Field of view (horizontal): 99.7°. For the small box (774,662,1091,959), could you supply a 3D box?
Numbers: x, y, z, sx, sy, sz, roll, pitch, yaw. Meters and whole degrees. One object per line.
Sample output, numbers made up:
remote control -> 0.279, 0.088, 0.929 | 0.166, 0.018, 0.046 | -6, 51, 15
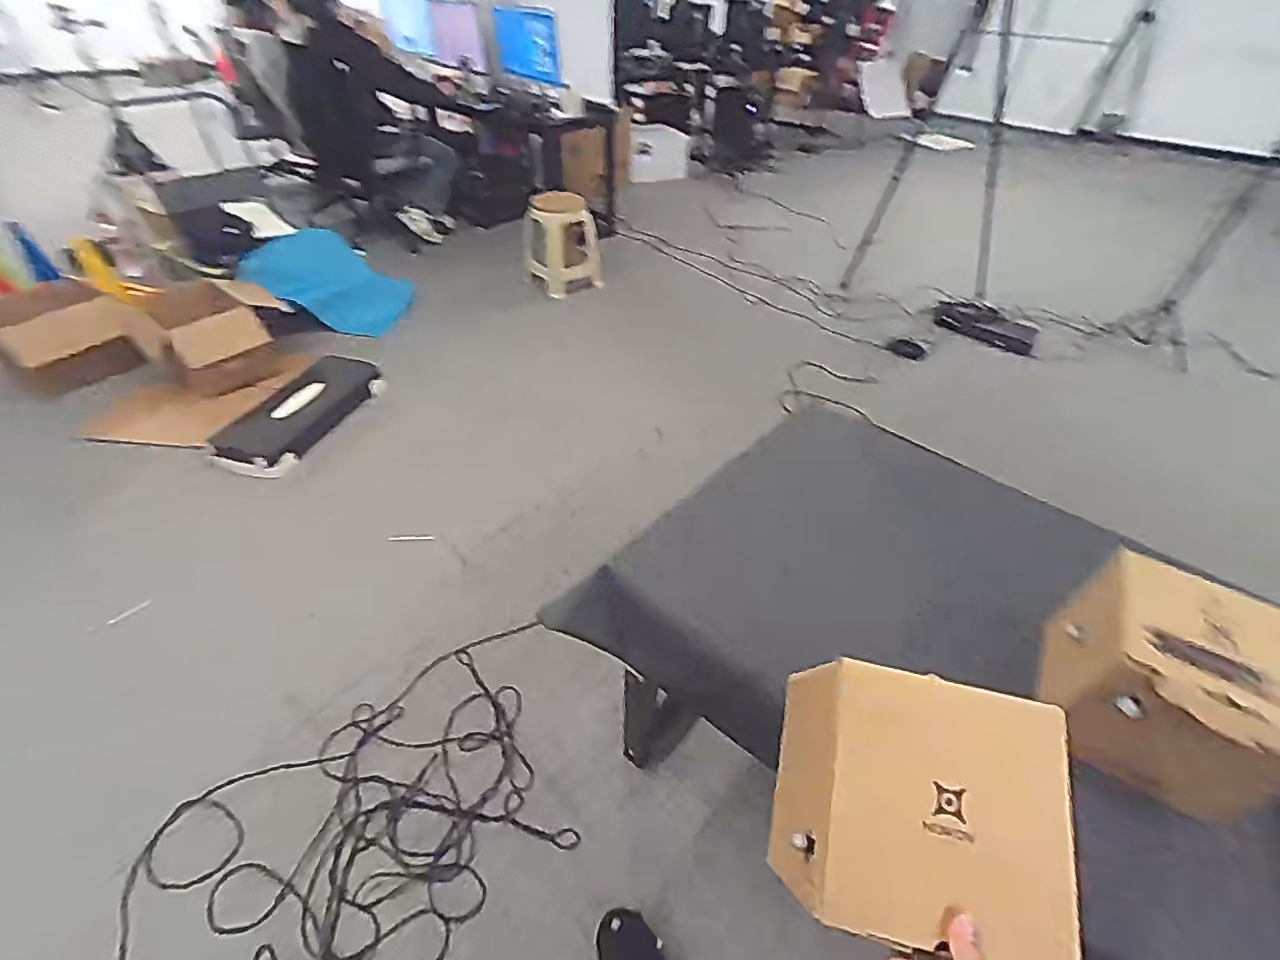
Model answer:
small box -> 0.216, 0.264, 0.442 | 0.168, 0.176, 0.179 | 12, 67, 6
